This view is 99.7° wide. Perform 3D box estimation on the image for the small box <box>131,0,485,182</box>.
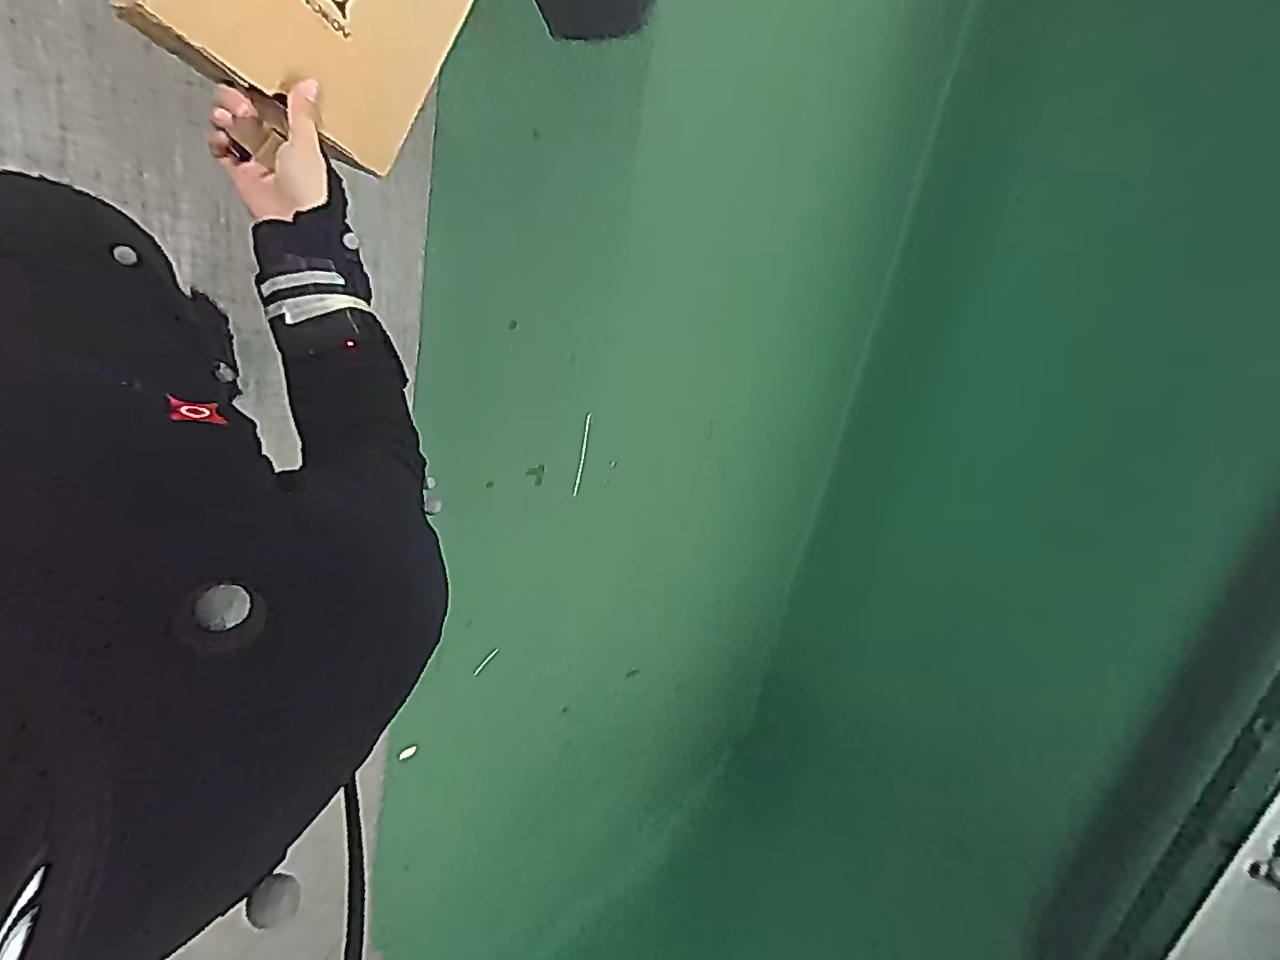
[{"bbox_3d":[-0.267,-0.385,0.434,0.179,0.176,0.168,-57,146,6],"label":"small box"}]
